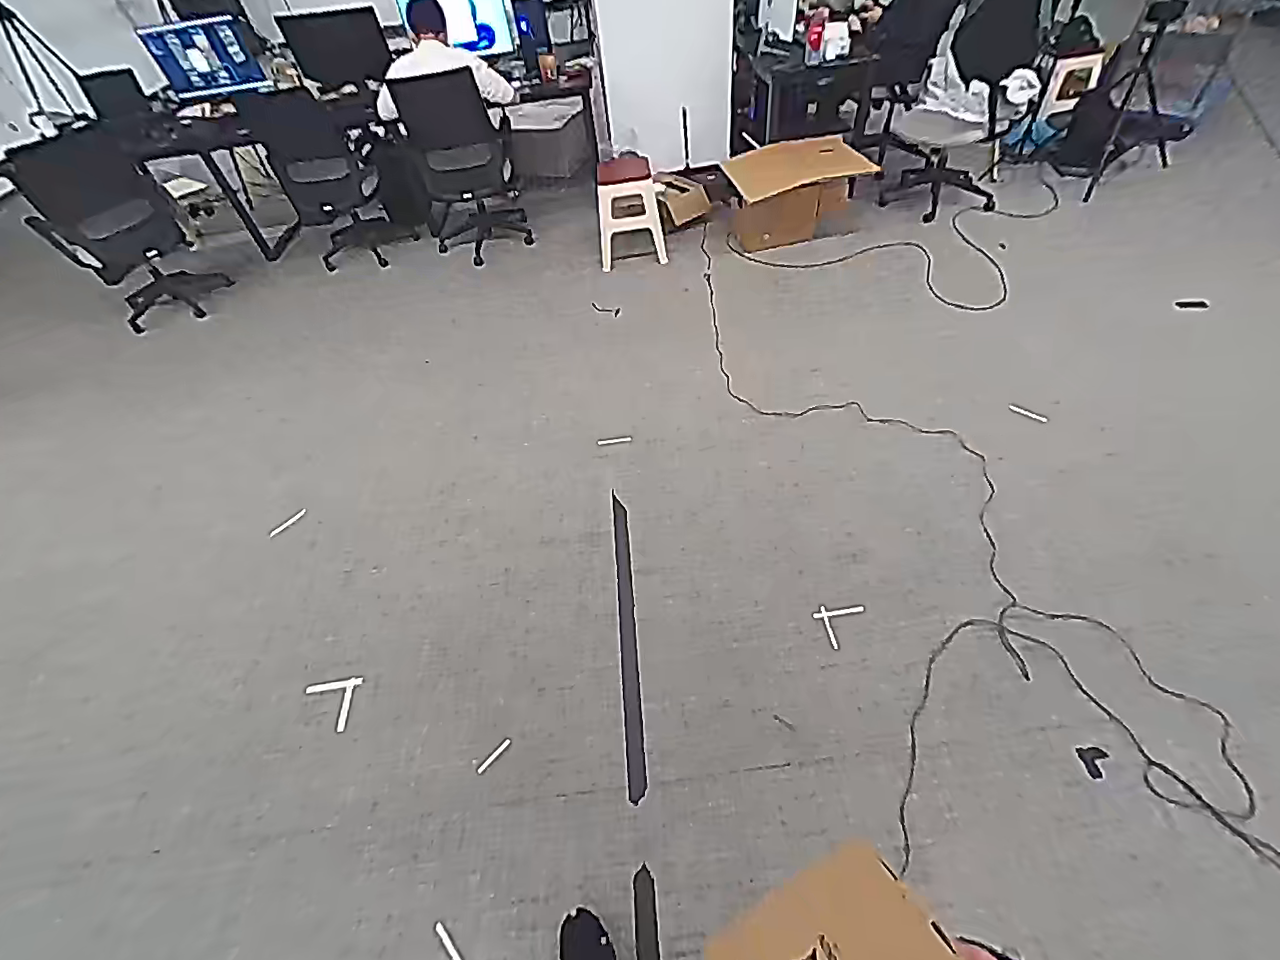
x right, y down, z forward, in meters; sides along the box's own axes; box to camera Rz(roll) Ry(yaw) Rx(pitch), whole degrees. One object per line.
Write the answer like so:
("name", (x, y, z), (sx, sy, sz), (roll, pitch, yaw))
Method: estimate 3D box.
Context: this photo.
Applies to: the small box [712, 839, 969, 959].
("small box", (0.184, 0.443, 0.420), (0.179, 0.168, 0.176), (-29, 88, -5))
